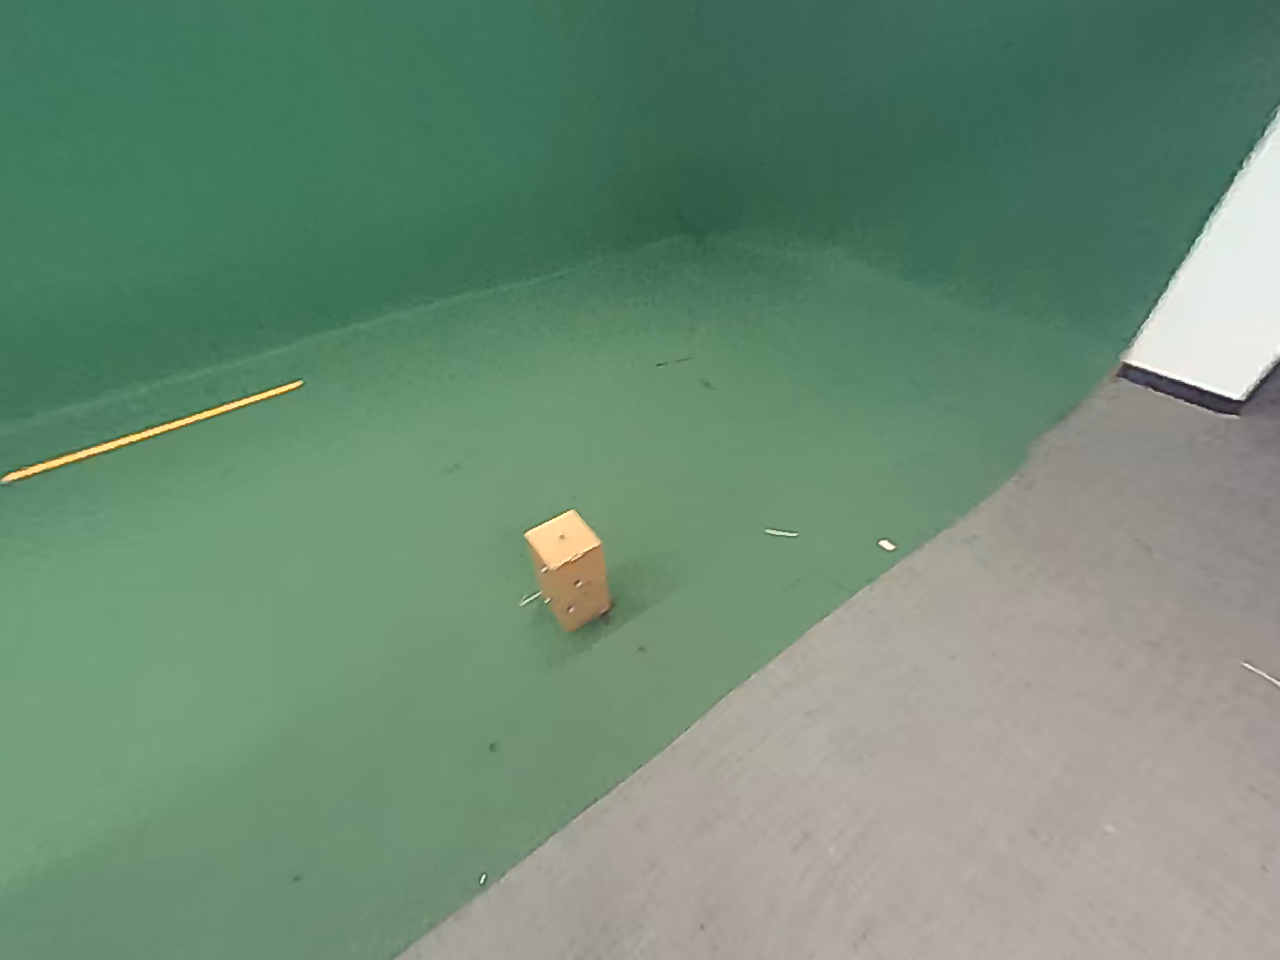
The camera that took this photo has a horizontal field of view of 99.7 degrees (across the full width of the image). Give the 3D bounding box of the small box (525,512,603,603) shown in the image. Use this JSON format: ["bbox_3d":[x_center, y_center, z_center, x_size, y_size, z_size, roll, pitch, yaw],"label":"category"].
[{"bbox_3d":[-0.227,0.236,1.637,0.168,0.176,0.179,-26,47,-24],"label":"small box"}]
